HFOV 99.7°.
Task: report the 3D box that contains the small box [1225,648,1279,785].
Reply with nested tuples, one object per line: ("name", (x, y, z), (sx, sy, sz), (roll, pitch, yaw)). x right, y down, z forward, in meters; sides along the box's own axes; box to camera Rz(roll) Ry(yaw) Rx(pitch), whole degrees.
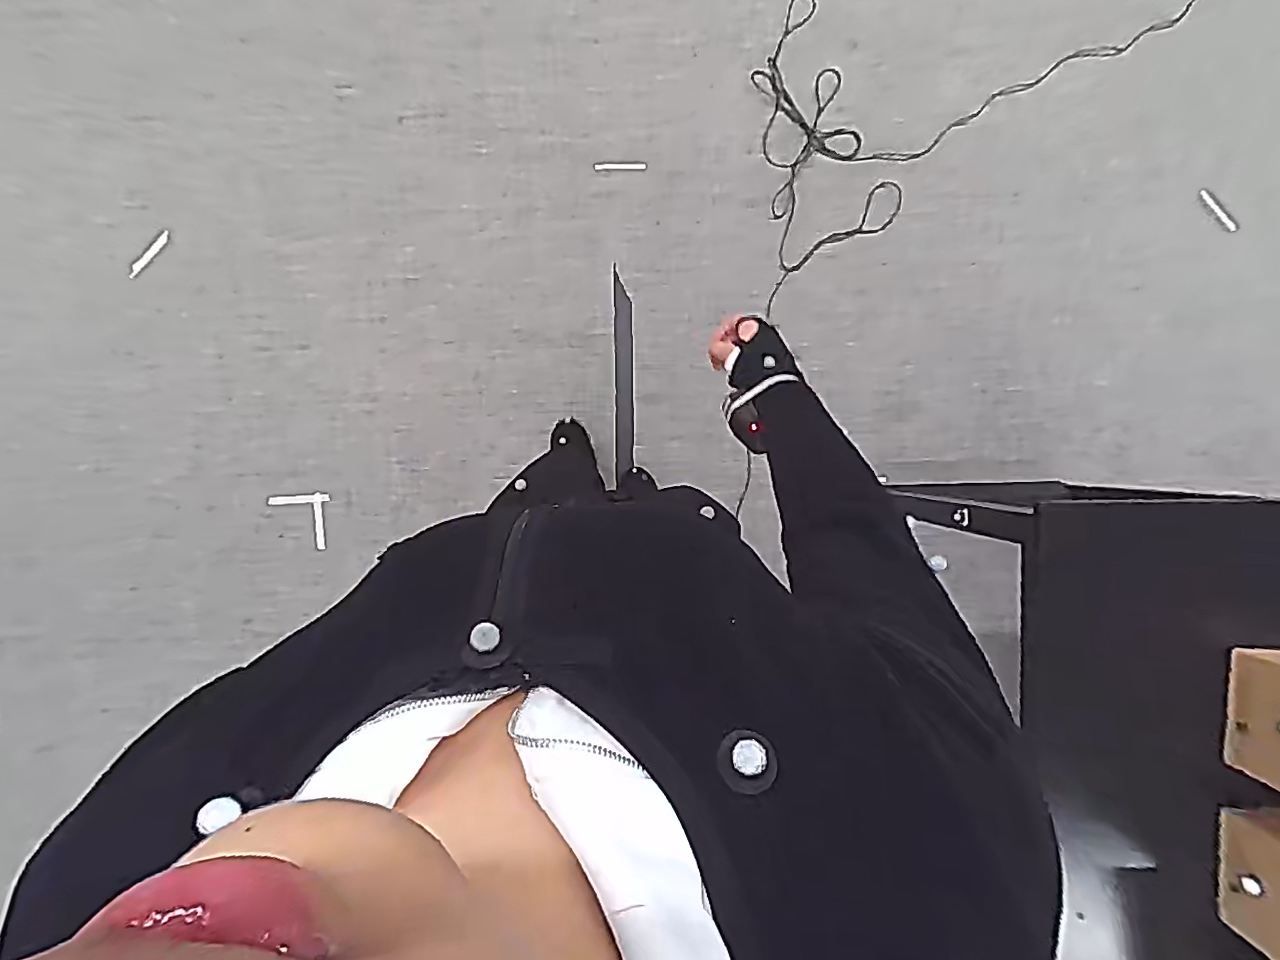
("small box", (0.910, 0.322, 0.682), (0.179, 0.176, 0.168), (2, 92, 0))

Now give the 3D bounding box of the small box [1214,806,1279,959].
("small box", (0.909, 0.546, 0.690), (0.179, 0.176, 0.168), (-1, 92, 1))
